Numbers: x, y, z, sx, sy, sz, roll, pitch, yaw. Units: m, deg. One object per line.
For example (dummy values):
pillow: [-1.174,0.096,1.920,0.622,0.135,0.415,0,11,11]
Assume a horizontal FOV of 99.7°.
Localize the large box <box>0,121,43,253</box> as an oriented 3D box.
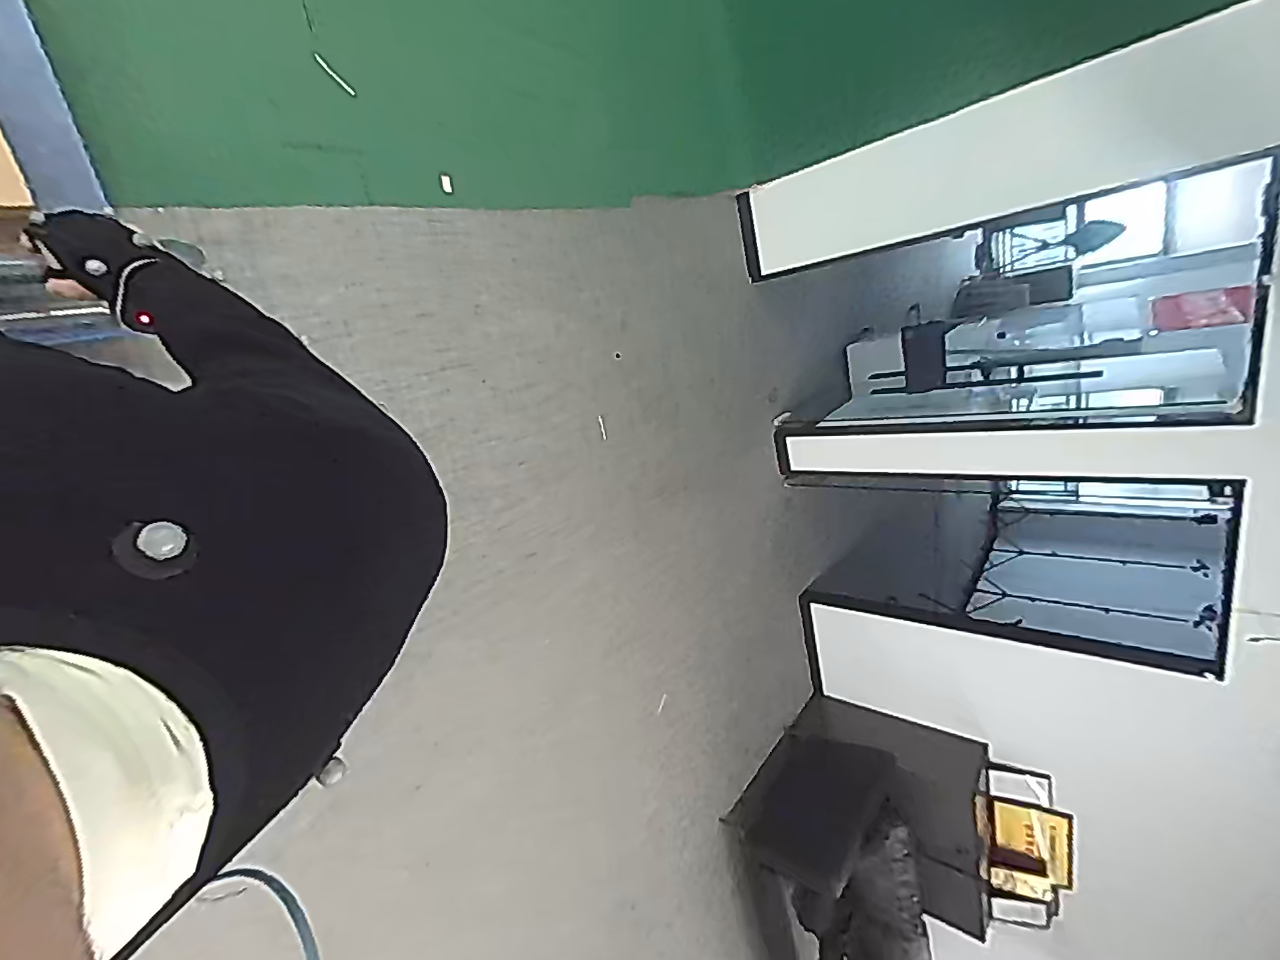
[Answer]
large box: [-1.145,-0.547,0.746,0.320,0.320,0.408,-29,113,-43]
